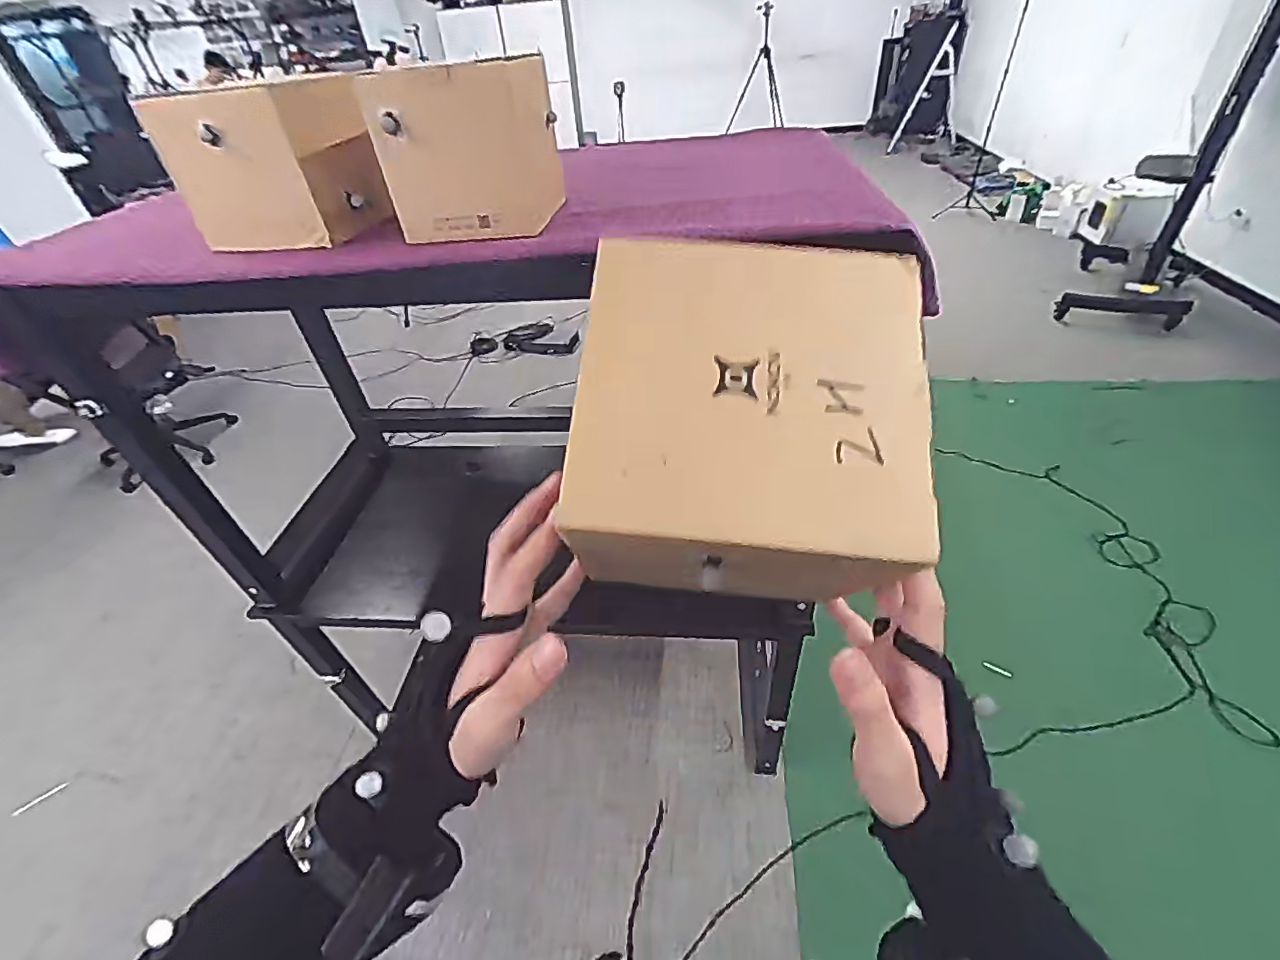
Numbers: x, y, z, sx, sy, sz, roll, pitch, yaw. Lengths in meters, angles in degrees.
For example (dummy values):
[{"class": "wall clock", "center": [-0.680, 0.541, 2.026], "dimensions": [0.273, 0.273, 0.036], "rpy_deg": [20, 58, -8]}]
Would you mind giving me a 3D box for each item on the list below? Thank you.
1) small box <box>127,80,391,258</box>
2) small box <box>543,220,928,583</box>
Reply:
[{"class": "small box", "center": [-0.456, -0.389, 0.681], "dimensions": [0.179, 0.176, 0.168], "rpy_deg": [2, 40, 9]}, {"class": "small box", "center": [0.051, -0.032, 0.343], "dimensions": [0.179, 0.176, 0.168], "rpy_deg": [6, 73, 2]}]
